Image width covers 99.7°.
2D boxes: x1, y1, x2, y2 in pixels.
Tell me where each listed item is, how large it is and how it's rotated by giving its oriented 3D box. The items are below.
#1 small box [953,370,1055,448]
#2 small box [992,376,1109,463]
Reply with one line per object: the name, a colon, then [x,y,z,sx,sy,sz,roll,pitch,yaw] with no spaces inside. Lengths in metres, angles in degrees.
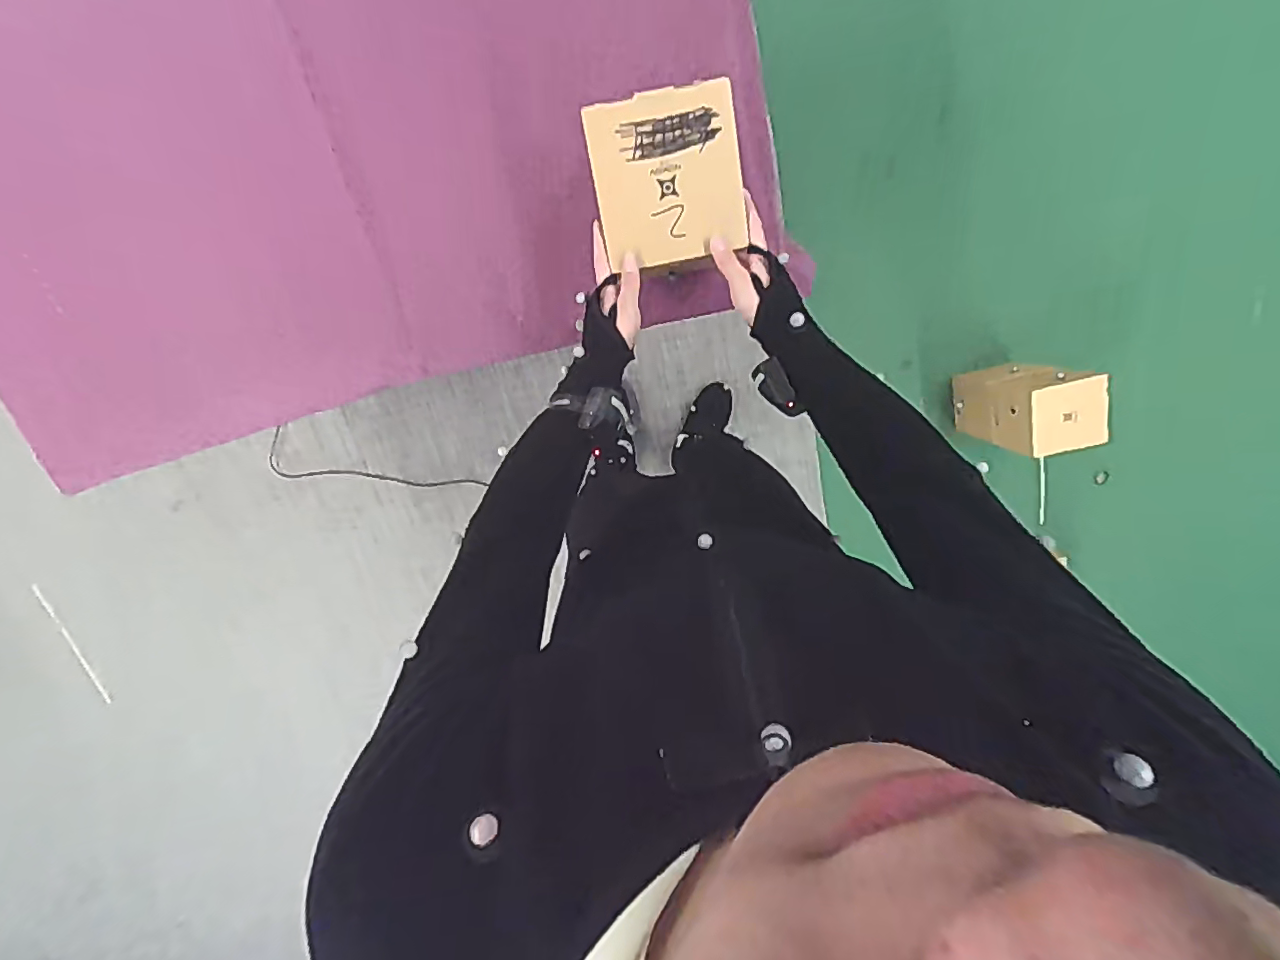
small box: [0.997,-0.201,1.487,0.179,0.176,0.168,-13,105,4]
small box: [0.999,-0.154,1.332,0.179,0.176,0.168,-13,105,3]
